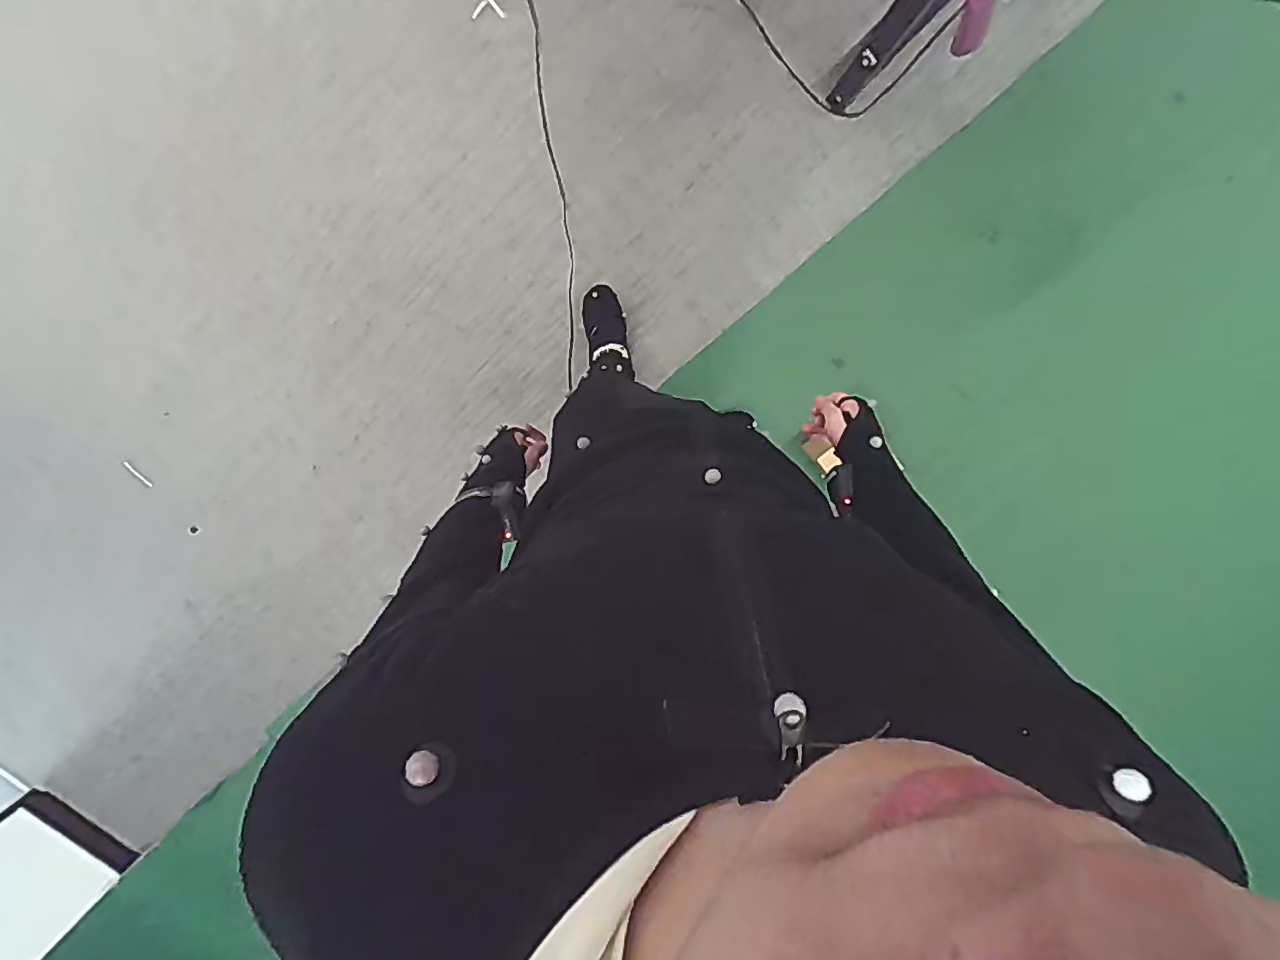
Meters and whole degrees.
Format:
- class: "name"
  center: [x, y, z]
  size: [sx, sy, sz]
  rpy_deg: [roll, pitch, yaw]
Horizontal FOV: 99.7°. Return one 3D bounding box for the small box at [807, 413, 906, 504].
- class: "small box"
  center: [0.599, -0.067, 1.516]
  size: [0.168, 0.176, 0.179]
  rpy_deg: [-40, 100, 12]
